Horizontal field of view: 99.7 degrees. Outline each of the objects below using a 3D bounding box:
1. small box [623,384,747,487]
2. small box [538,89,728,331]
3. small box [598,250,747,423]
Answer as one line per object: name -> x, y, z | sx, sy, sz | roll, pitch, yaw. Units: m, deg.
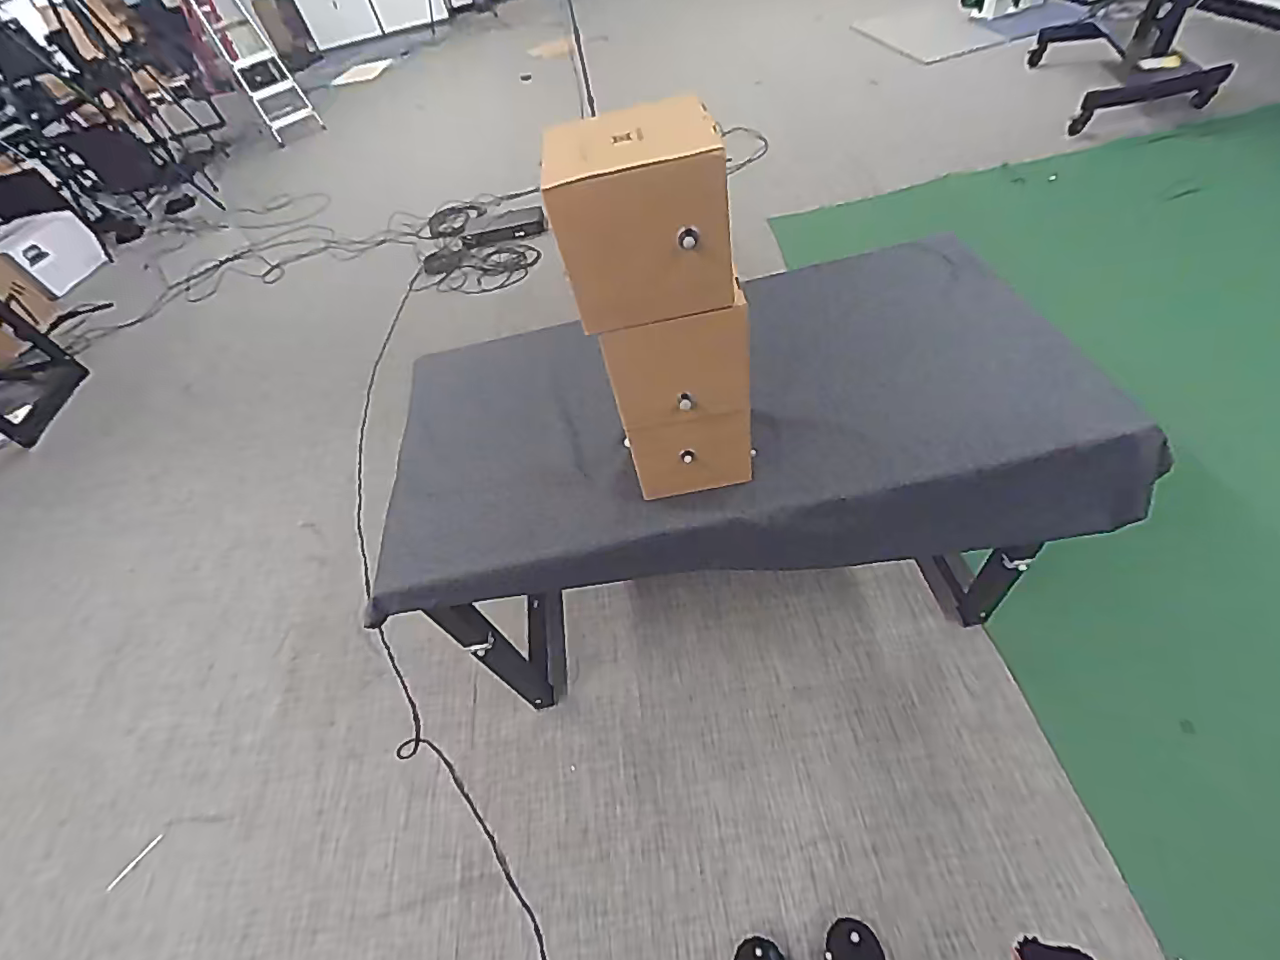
small box -> 0.072, -0.108, 0.860 | 0.179, 0.176, 0.168 | -9, 50, 6
small box -> -0.001, -0.296, 0.606 | 0.179, 0.176, 0.168 | -12, 50, 6
small box -> 0.042, -0.201, 0.732 | 0.179, 0.176, 0.168 | -10, 51, 5
